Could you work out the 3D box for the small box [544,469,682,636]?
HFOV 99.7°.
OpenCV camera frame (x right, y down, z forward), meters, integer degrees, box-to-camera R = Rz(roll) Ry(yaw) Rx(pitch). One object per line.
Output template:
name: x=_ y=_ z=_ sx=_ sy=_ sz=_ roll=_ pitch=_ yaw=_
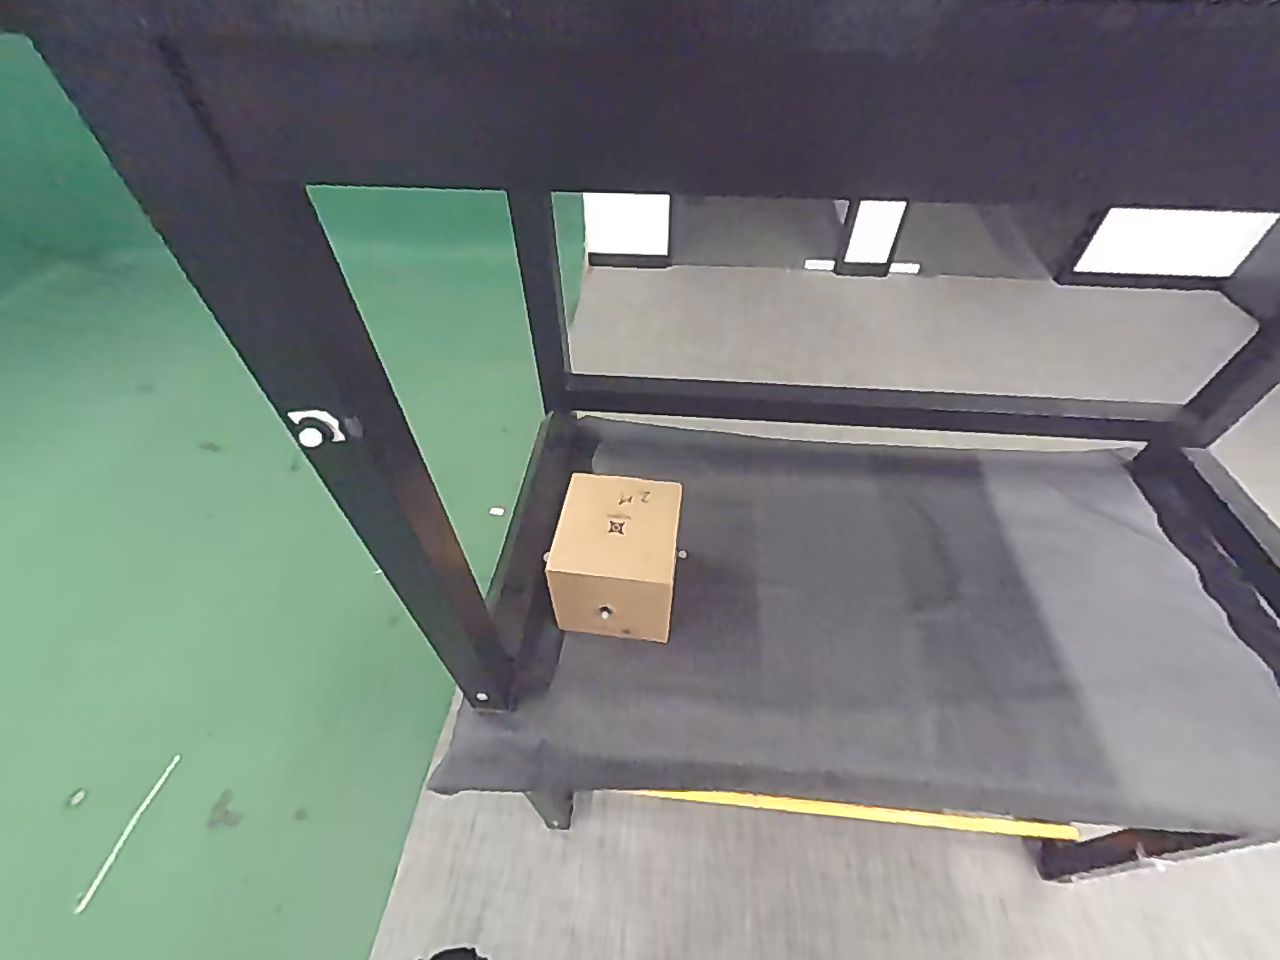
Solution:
small box: x=-0.030 y=0.110 z=0.794 sx=0.168 sy=0.176 sz=0.179 roll=6 pitch=48 yaw=5
